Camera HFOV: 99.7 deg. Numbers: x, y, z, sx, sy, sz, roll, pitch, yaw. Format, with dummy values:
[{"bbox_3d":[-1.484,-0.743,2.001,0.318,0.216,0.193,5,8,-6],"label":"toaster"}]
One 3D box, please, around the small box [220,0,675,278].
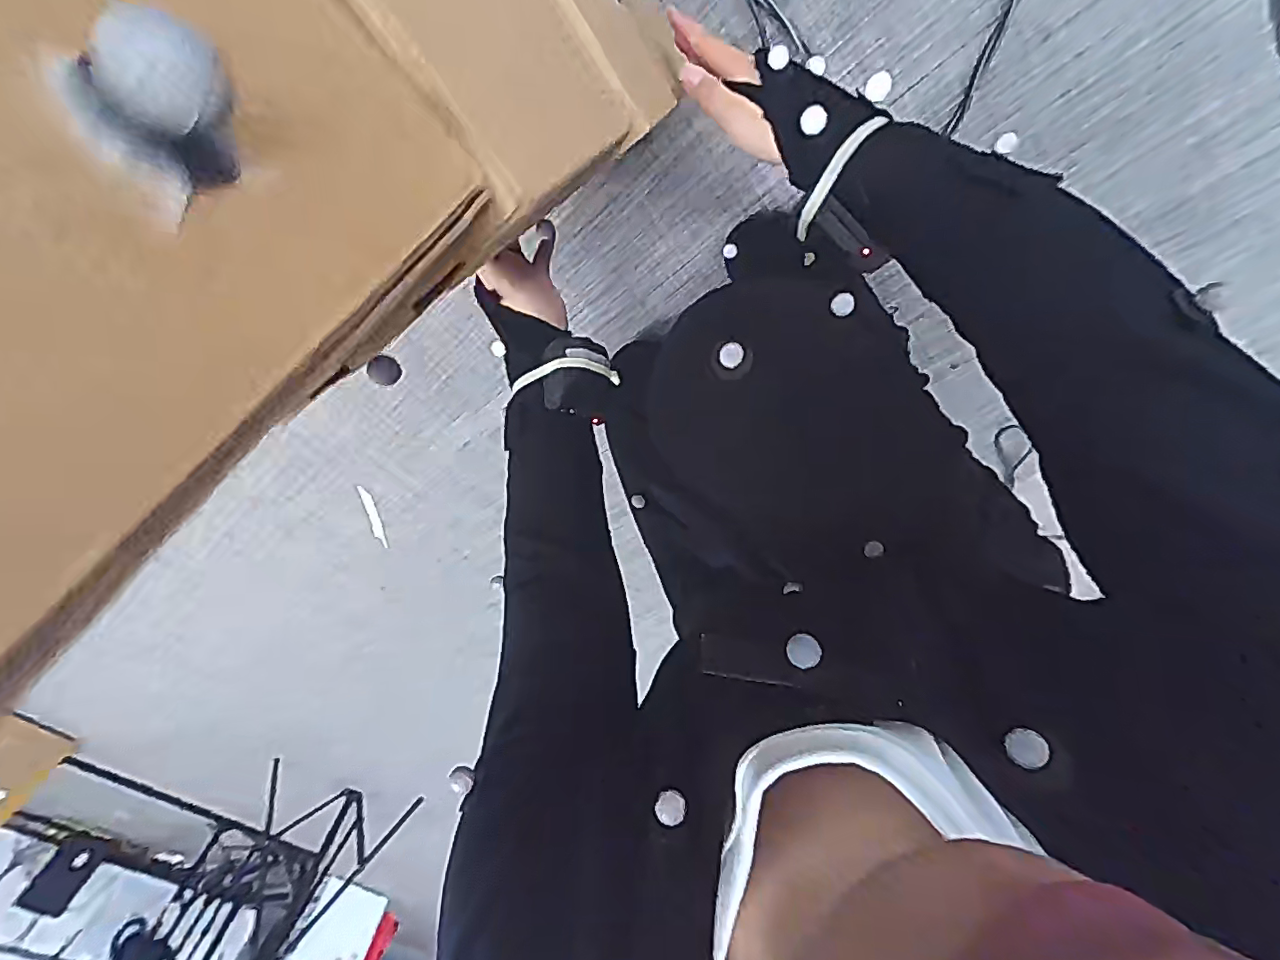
[{"bbox_3d":[-0.095,-0.266,0.341,0.179,0.176,0.168,-24,122,27],"label":"small box"}]
